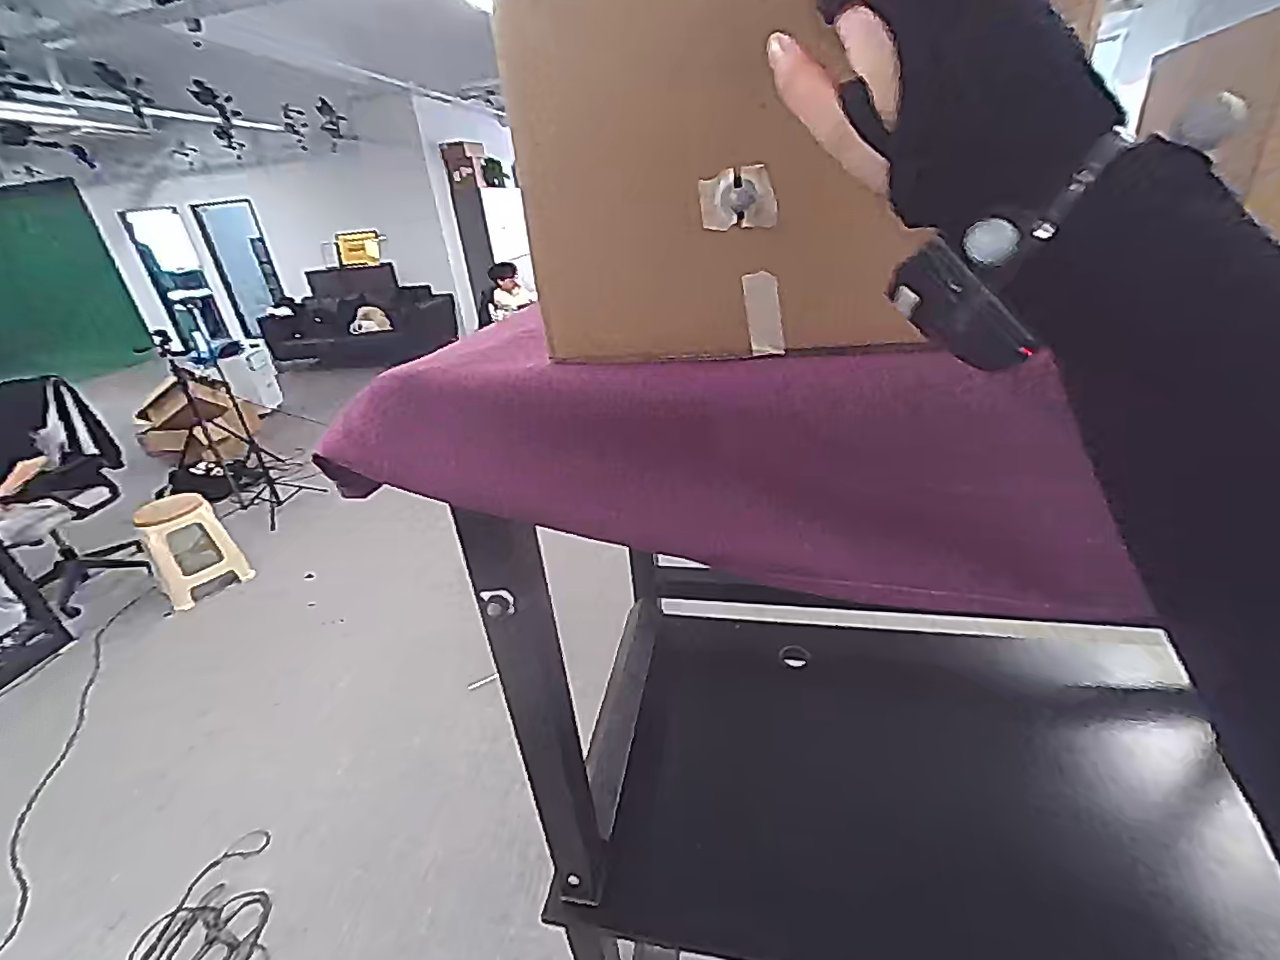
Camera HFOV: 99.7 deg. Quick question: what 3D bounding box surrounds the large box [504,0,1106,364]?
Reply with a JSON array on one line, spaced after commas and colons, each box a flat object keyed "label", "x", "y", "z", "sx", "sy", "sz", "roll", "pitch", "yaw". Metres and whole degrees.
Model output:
[{"label": "large box", "x": 0.103, "y": -0.304, "z": 0.458, "sx": 0.320, "sy": 0.320, "sz": 0.408, "roll": 0, "pitch": 26, "yaw": 10}]
